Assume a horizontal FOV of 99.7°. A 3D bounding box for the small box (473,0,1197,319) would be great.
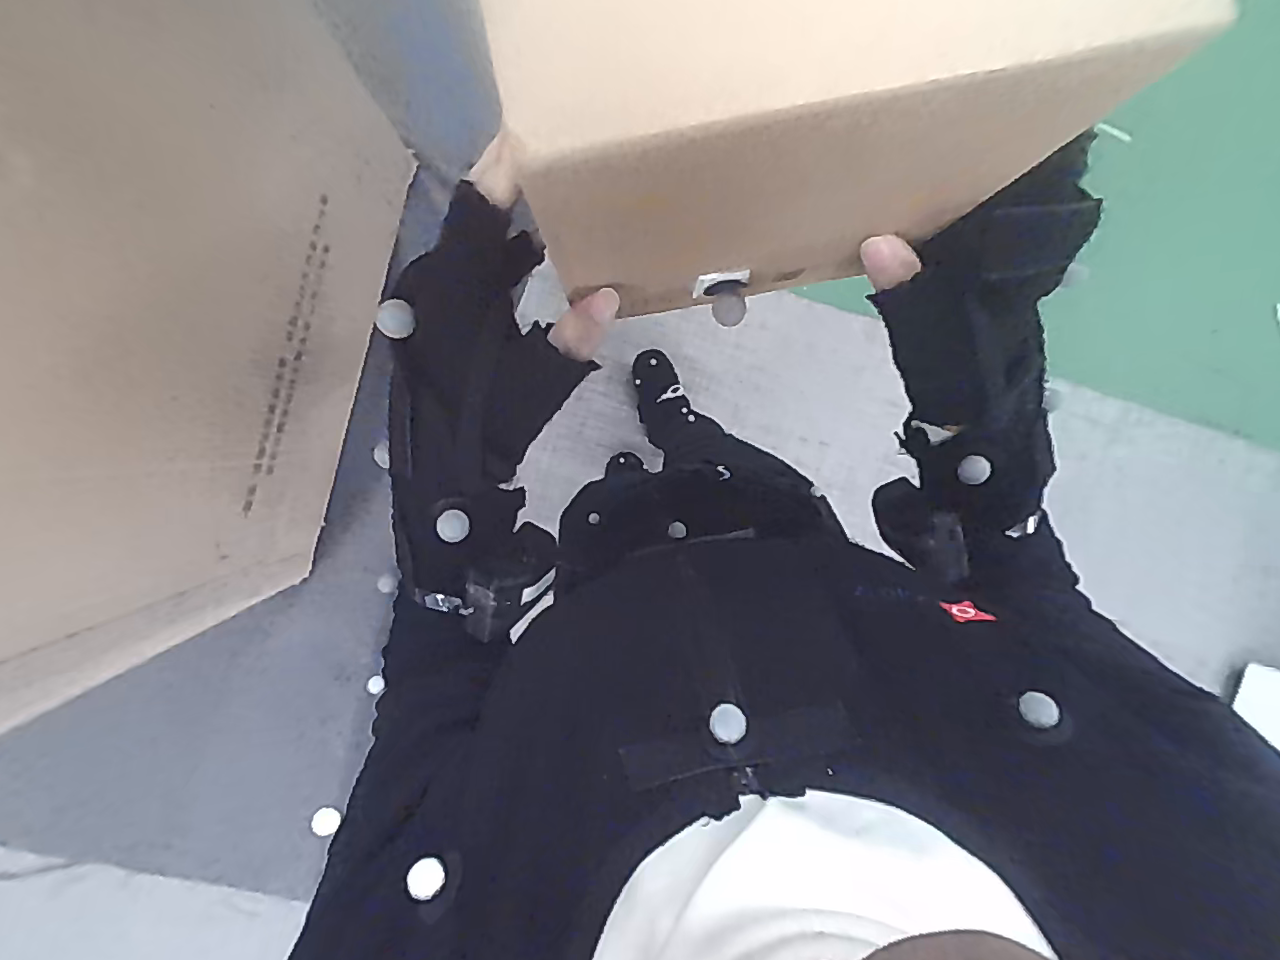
[{"bbox_3d":[0.032,-0.176,0.199,0.168,0.176,0.179,-10,94,1],"label":"small box"}]
